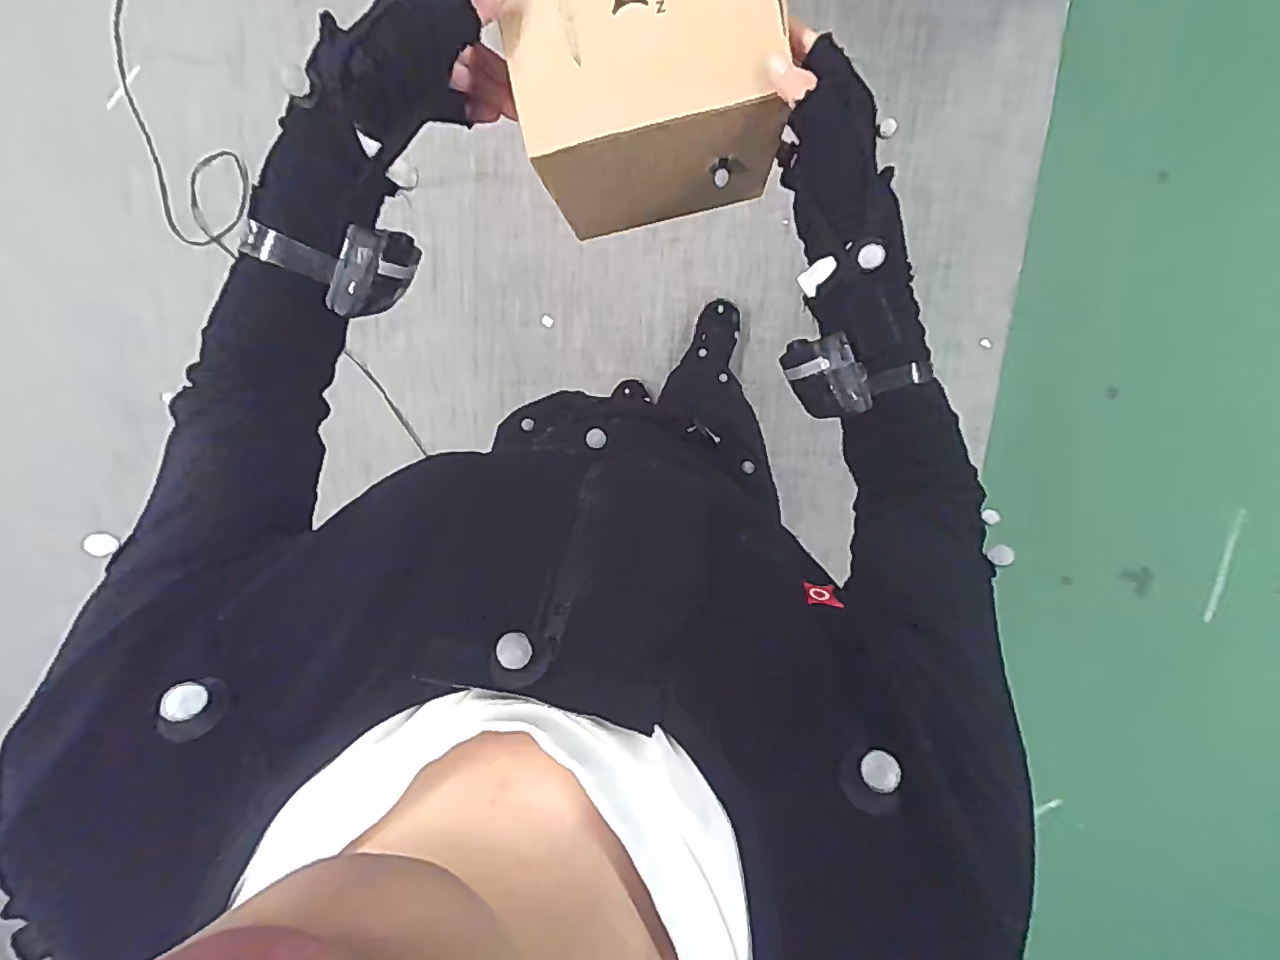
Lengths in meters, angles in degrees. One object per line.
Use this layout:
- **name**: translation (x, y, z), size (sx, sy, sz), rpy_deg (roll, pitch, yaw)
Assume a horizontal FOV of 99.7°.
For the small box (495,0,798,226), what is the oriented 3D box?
- **small box**: translation (0.003, -0.317, 0.405), size (0.179, 0.176, 0.168), rpy_deg (-11, 95, 8)
